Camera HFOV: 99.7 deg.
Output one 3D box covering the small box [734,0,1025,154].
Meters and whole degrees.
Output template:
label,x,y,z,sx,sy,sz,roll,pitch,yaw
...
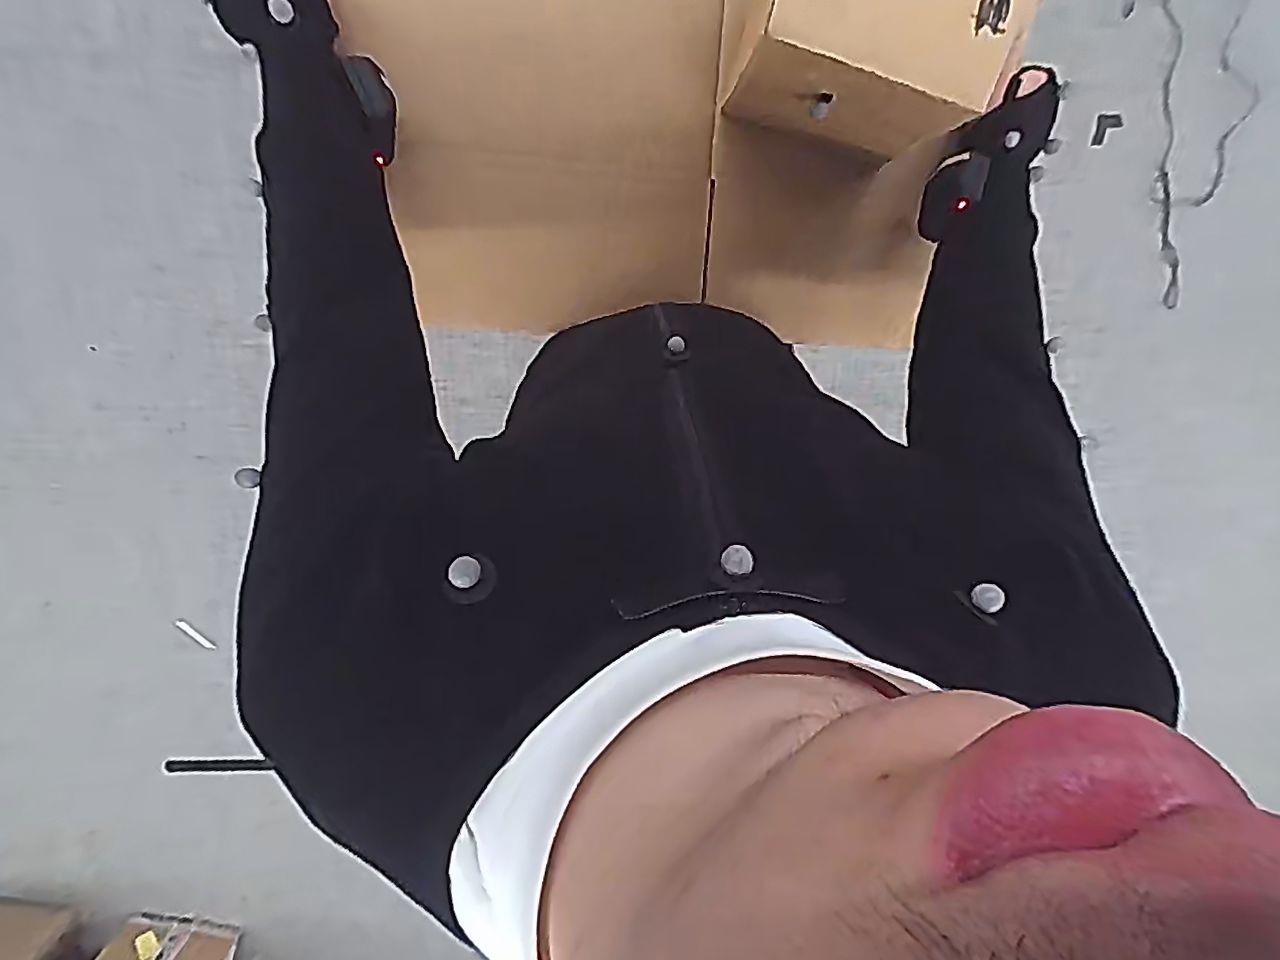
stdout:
label,x,y,z,sx,sy,sz,roll,pitch,yaw
small box,0.191,-0.397,0.446,0.179,0.176,0.168,14,108,-6
